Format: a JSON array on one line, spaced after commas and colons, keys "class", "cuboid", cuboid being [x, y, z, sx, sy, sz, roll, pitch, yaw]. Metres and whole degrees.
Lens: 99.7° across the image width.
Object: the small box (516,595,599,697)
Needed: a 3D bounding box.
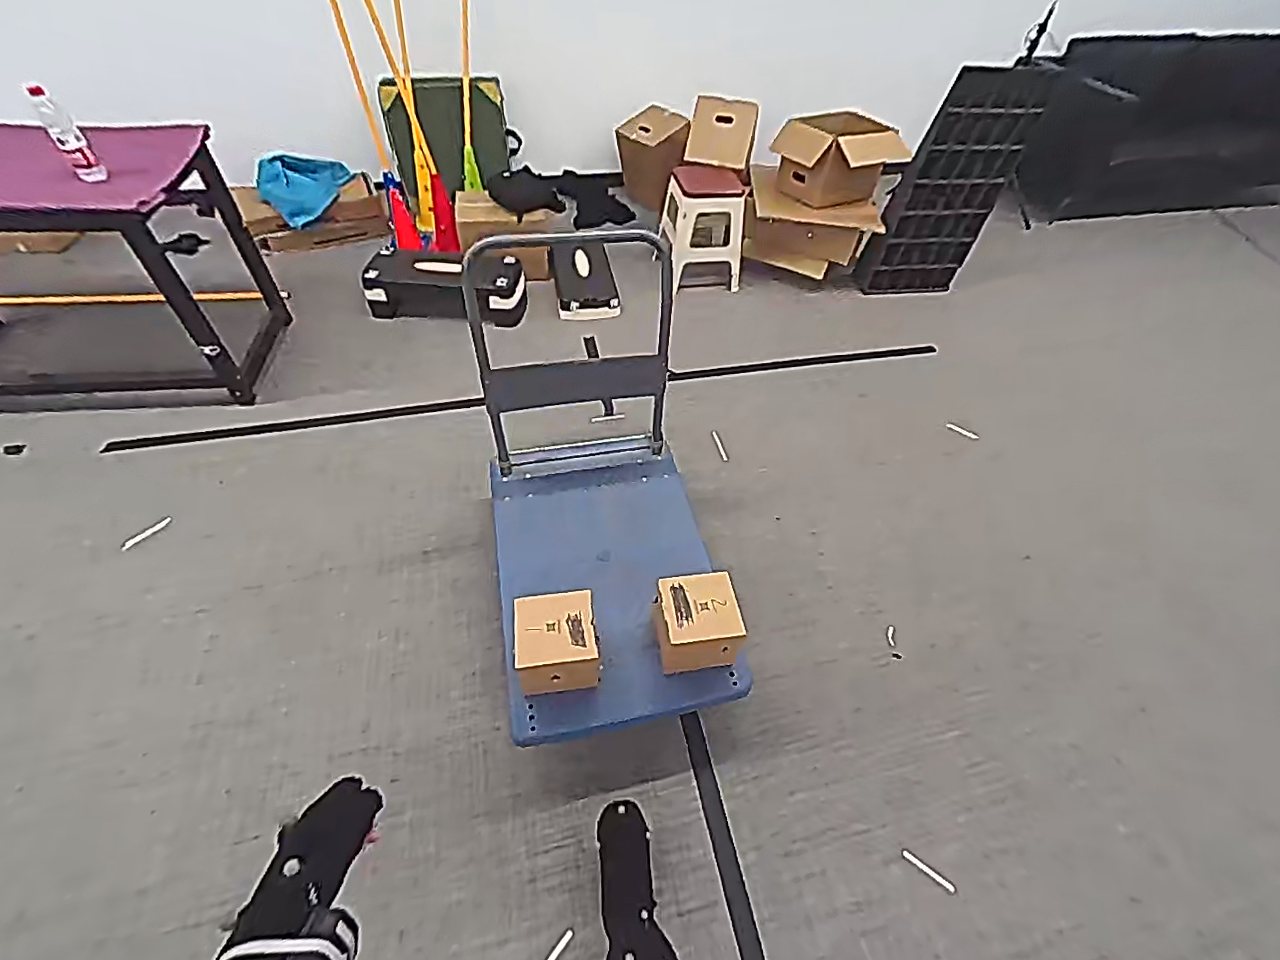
[{"class": "small box", "cuboid": [-0.188, 0.382, 1.241, 0.179, 0.176, 0.168, -5, 50, -7]}]
